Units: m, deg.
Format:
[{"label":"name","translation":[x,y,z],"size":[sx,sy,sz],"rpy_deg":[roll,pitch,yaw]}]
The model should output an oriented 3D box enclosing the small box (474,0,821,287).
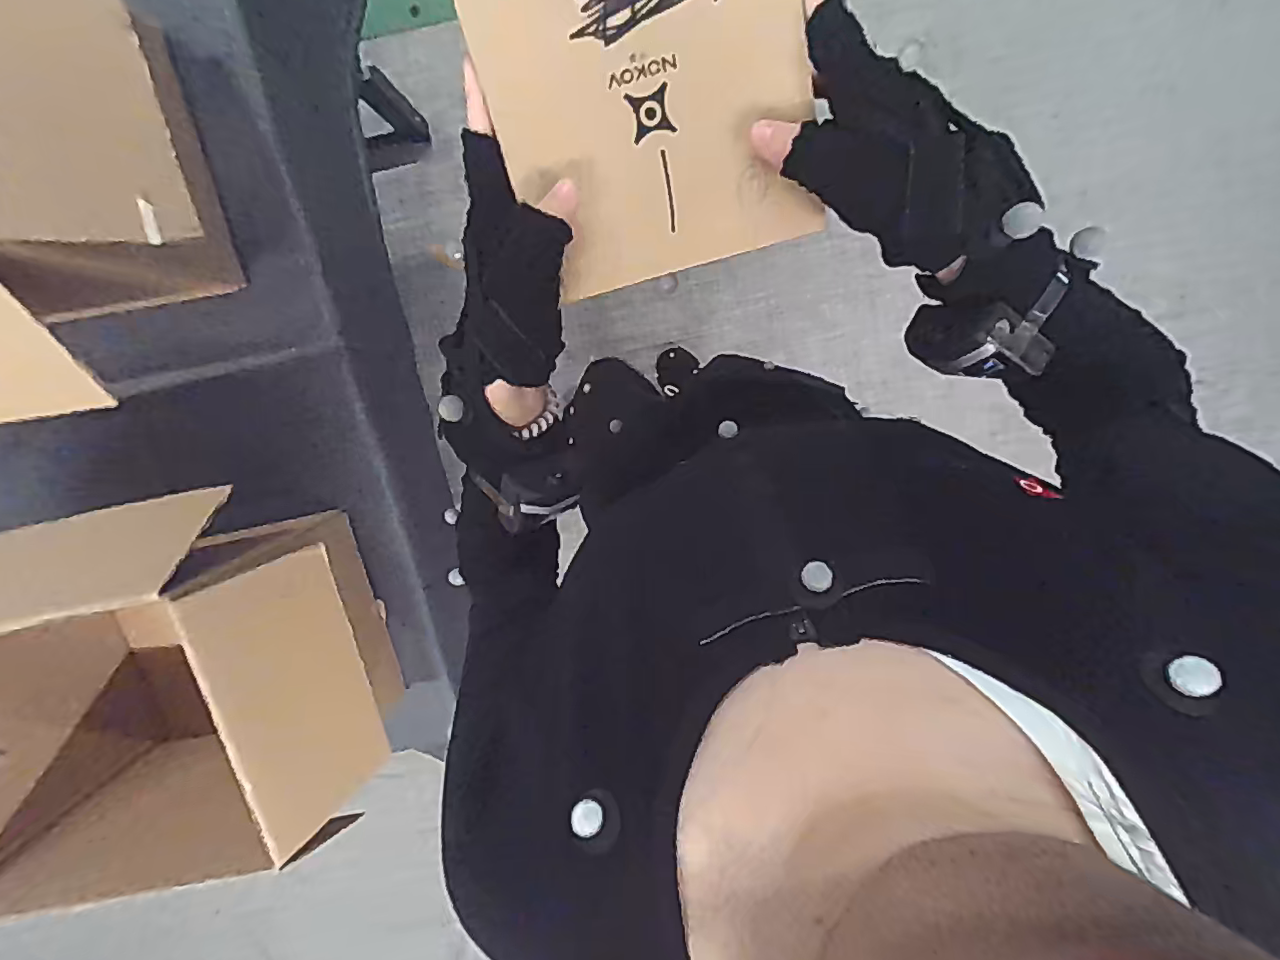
[{"label":"small box","translation":[0.004,-0.235,0.358],"size":[0.168,0.176,0.179],"rpy_deg":[-12,112,3]}]
